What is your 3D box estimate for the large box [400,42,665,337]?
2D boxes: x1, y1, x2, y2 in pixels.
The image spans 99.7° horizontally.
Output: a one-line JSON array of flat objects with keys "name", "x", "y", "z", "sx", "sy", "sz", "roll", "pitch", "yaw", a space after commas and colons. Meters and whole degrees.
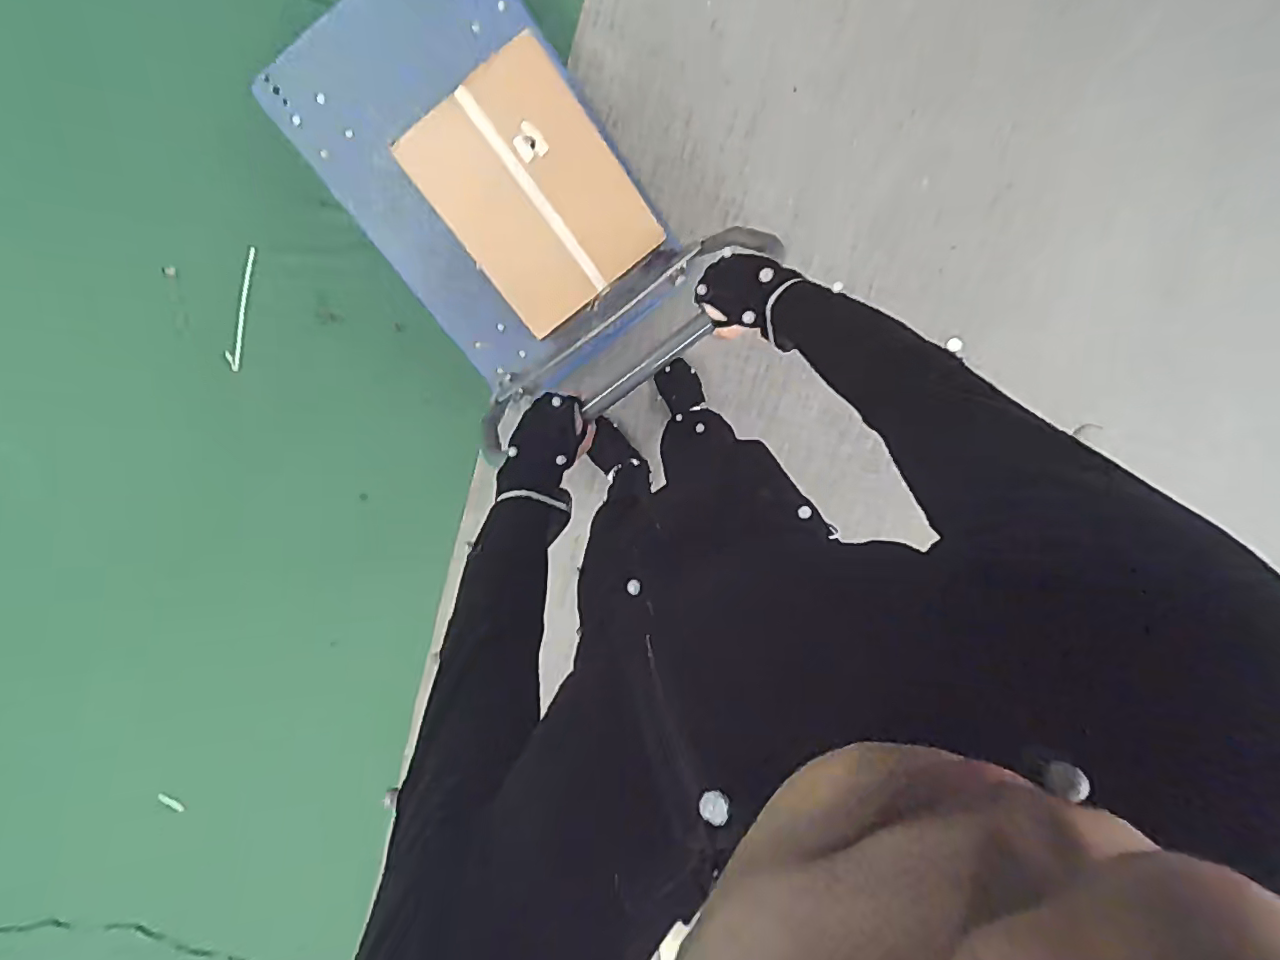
[{"name": "large box", "x": -0.199, "y": -0.554, "z": 1.134, "sx": 0.320, "sy": 0.320, "sz": 0.408, "roll": -37, "pitch": 105, "yaw": 4}]
